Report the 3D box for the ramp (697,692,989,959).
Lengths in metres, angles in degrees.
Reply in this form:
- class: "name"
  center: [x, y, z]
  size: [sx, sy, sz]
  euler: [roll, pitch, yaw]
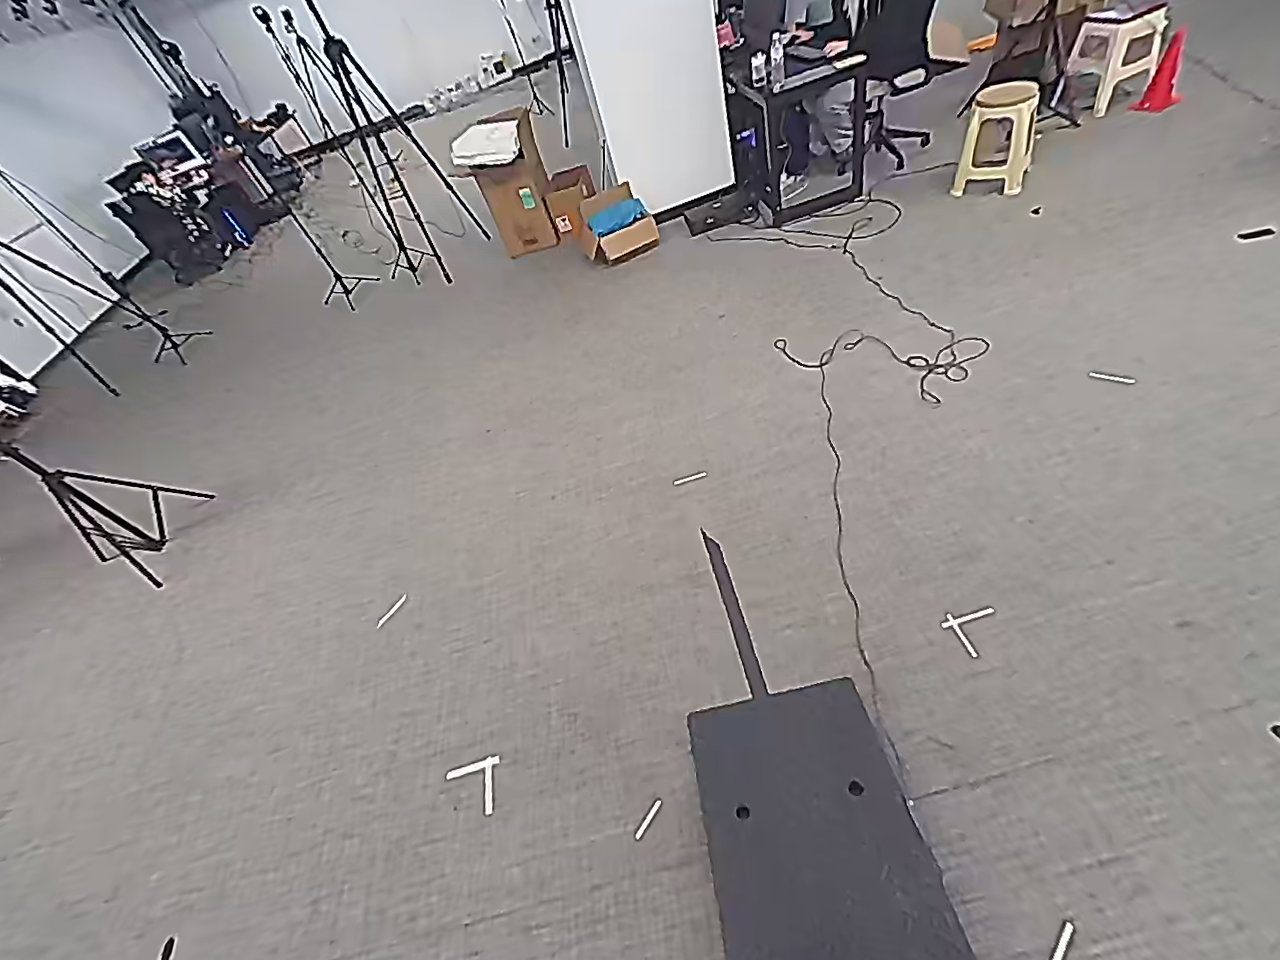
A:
- class: "ramp"
  center: [0.439, 0.954, 1.161]
  size: [0.509, 0.206, 0.991]
  euler: [-19, 43, 5]
